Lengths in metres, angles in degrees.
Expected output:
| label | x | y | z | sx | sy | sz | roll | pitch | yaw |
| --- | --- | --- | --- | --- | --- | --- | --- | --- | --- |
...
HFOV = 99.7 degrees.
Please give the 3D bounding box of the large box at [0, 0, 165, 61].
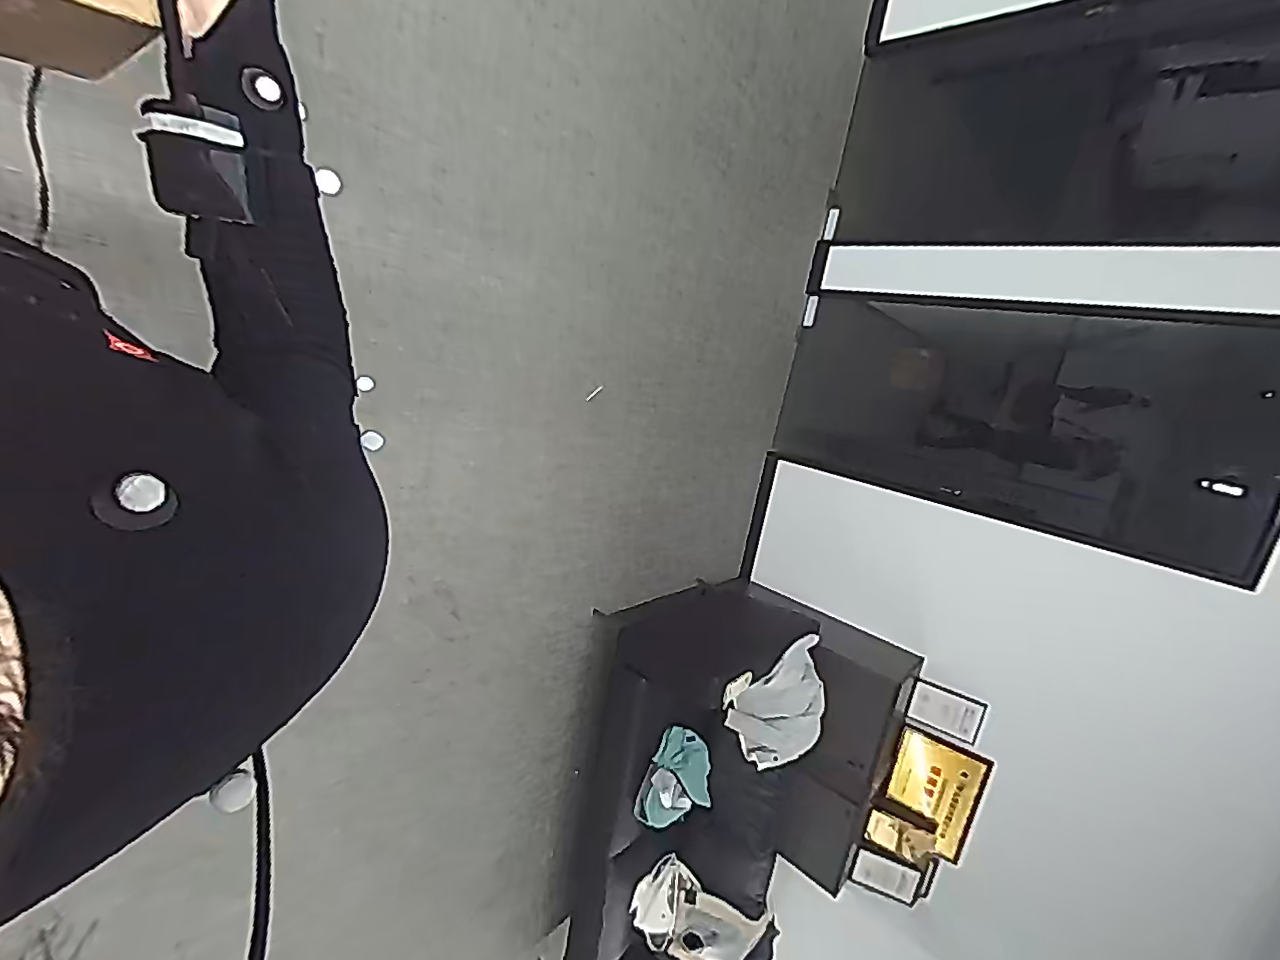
| label | x | y | z | sx | sy | sz | roll | pitch | yaw |
| --- | --- | --- | --- | --- | --- | --- | --- | --- | --- |
| large box | -0.509 | -0.437 | 0.216 | 0.408 | 0.320 | 0.320 | -16 | 123 | -48 |
